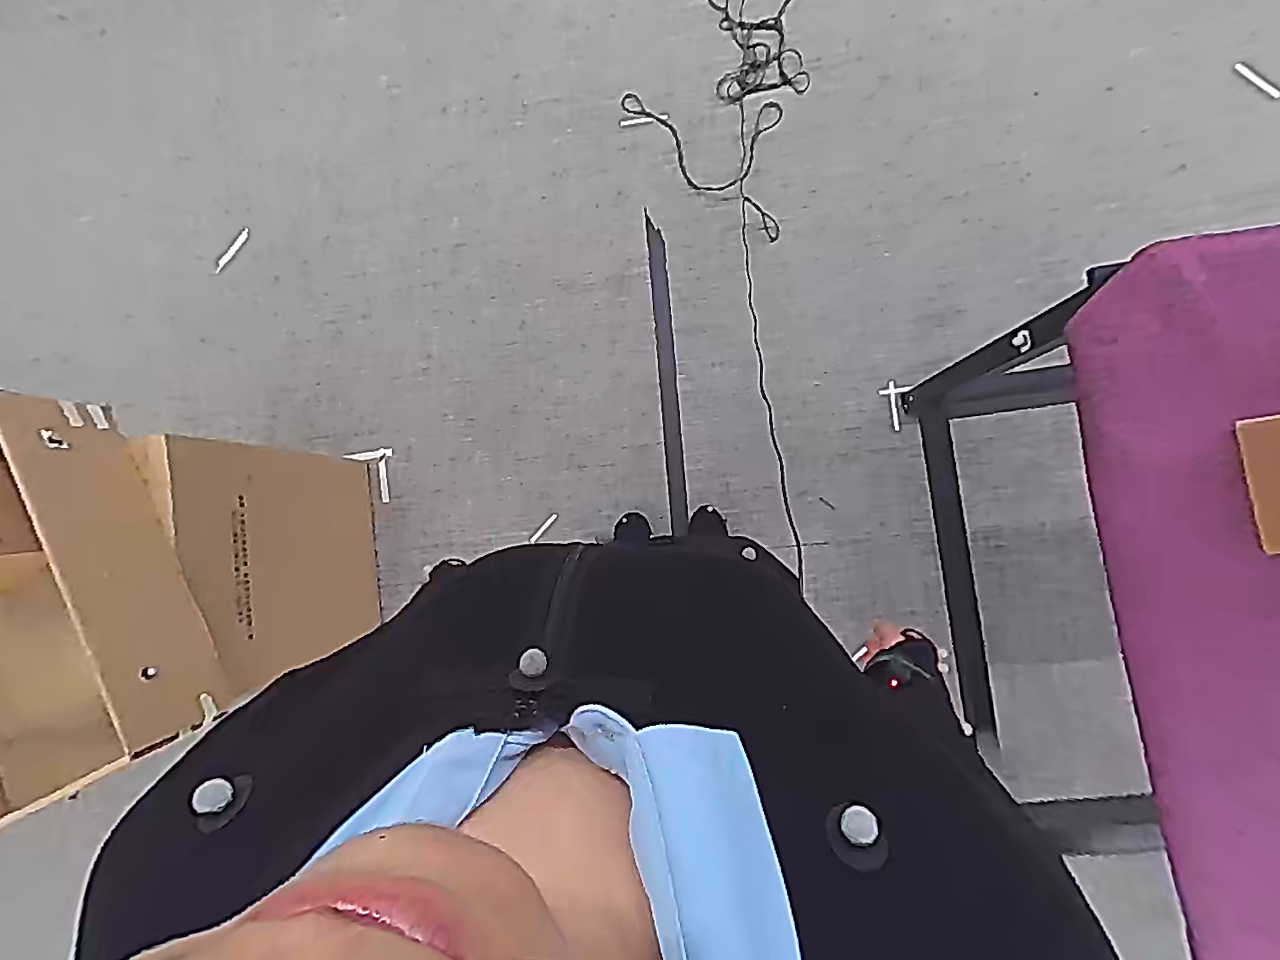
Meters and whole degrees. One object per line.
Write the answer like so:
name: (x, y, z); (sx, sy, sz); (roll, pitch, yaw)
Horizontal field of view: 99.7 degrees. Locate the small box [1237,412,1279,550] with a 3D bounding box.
small box: (0.864, -0.011, 0.623); (0.168, 0.176, 0.179); (-9, 86, 5)
